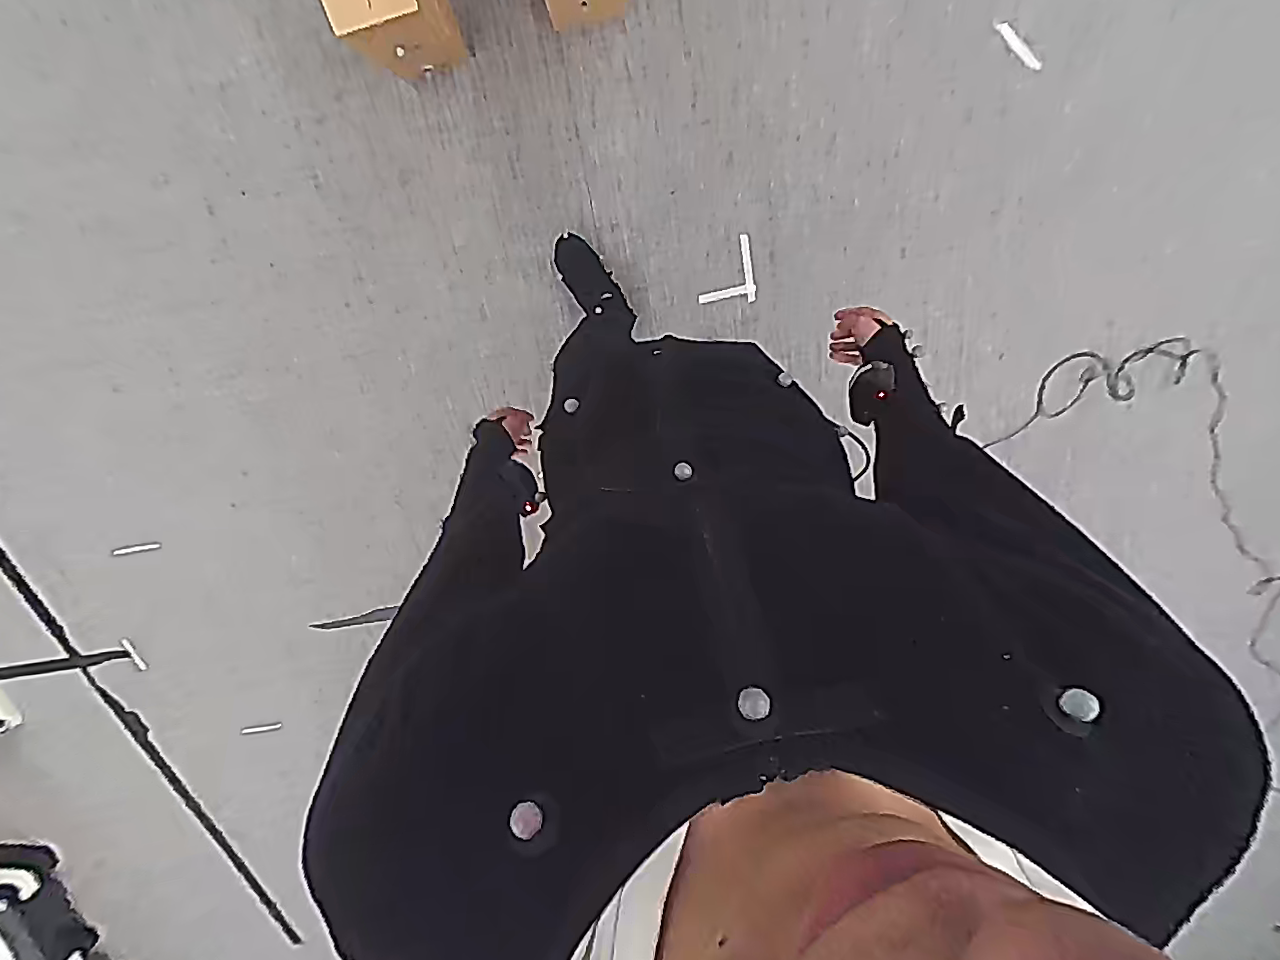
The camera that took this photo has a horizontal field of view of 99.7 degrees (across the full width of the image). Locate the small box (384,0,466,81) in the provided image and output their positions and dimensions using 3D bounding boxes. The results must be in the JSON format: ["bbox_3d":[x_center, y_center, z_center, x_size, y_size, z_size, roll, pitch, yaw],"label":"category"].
[{"bbox_3d":[-0.498,-1.003,1.161,0.168,0.176,0.179,-15,113,4],"label":"small box"}]

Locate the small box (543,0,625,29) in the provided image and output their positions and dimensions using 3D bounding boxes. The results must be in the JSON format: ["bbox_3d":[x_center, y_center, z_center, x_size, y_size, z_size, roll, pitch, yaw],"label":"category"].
[{"bbox_3d":[-0.127,-1.089,1.140,0.179,0.176,0.168,-9,114,0],"label":"small box"}]

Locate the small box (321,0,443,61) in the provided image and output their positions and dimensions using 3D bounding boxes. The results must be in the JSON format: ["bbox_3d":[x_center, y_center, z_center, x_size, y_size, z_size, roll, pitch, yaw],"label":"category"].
[{"bbox_3d":[-0.498,-0.932,1.013,0.168,0.176,0.179,-13,114,4],"label":"small box"}]
